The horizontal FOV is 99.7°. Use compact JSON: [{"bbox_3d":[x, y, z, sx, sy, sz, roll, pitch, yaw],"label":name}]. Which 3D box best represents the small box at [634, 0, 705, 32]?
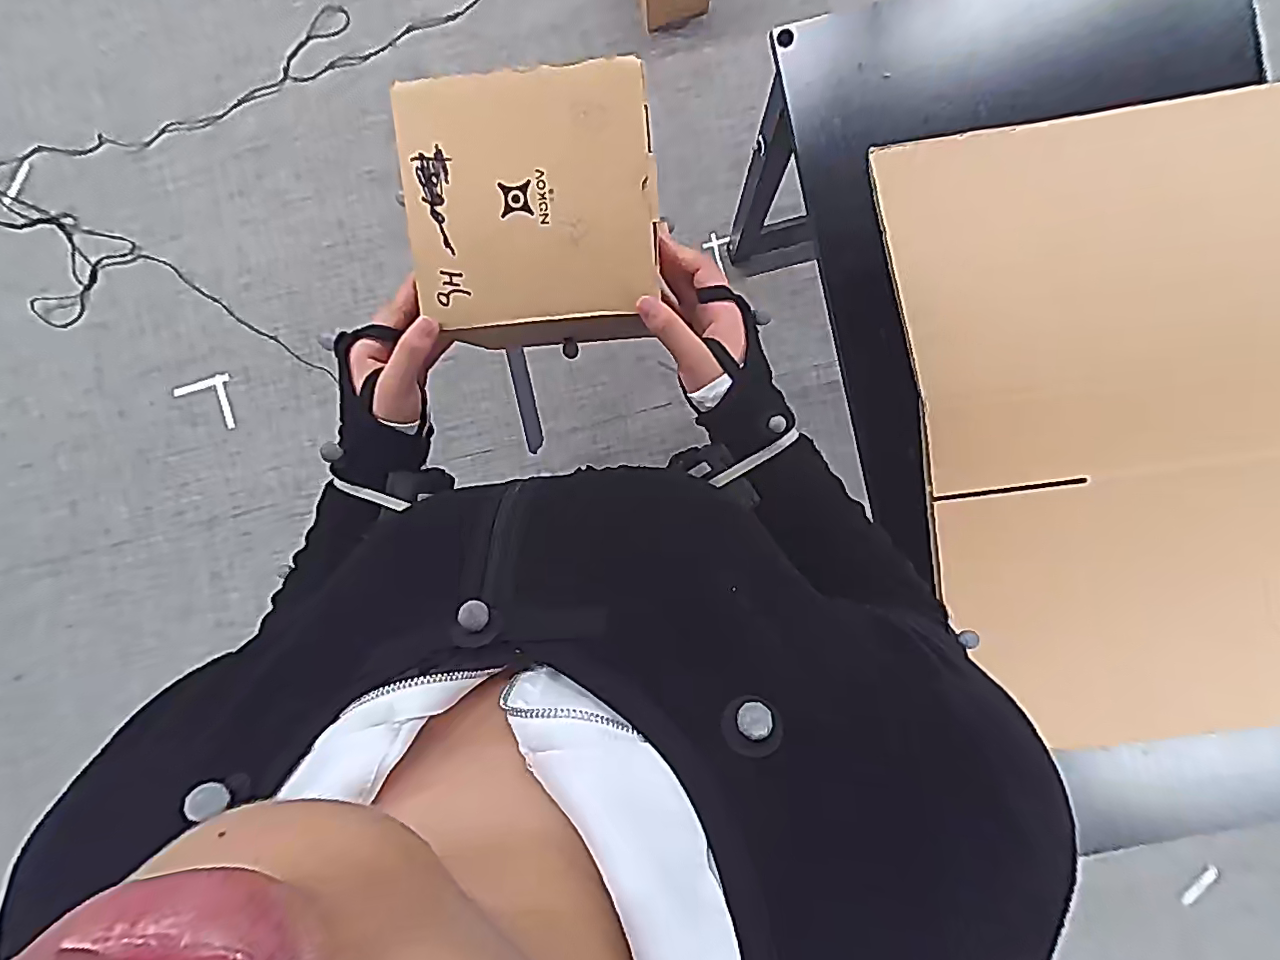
[{"bbox_3d":[0.068,-1.294,1.364,0.179,0.176,0.168,-17,91,4],"label":"small box"}]

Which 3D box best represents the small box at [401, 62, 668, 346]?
[{"bbox_3d":[-0.072,-0.210,0.458,0.179,0.176,0.168,-4,98,1],"label":"small box"}]
